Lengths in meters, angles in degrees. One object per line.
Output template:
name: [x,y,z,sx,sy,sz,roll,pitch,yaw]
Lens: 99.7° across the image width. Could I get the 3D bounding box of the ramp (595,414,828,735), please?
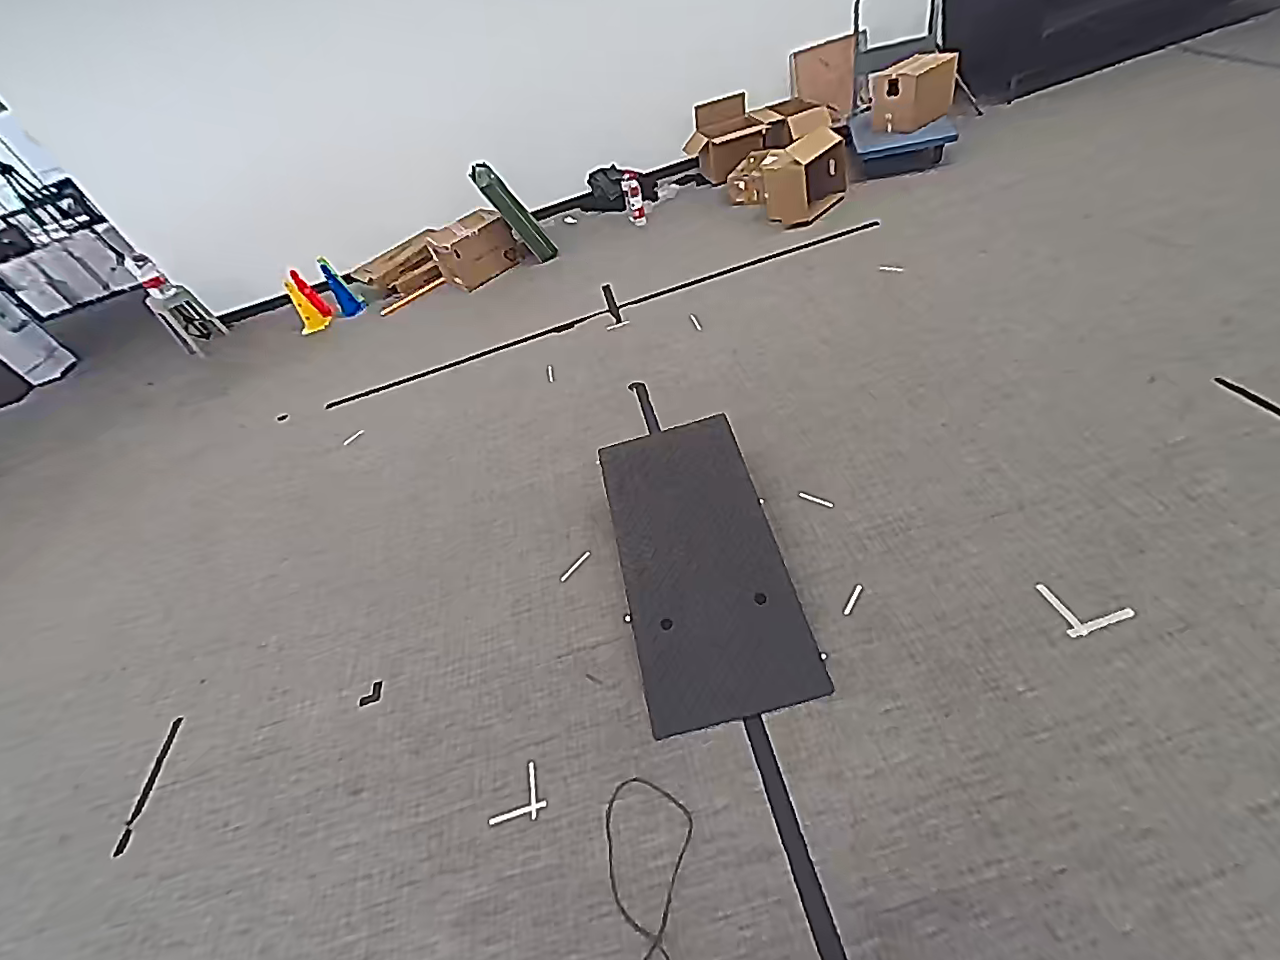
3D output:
ramp: [0.168,0.220,1.709,0.509,0.206,0.991,-17,45,1]
